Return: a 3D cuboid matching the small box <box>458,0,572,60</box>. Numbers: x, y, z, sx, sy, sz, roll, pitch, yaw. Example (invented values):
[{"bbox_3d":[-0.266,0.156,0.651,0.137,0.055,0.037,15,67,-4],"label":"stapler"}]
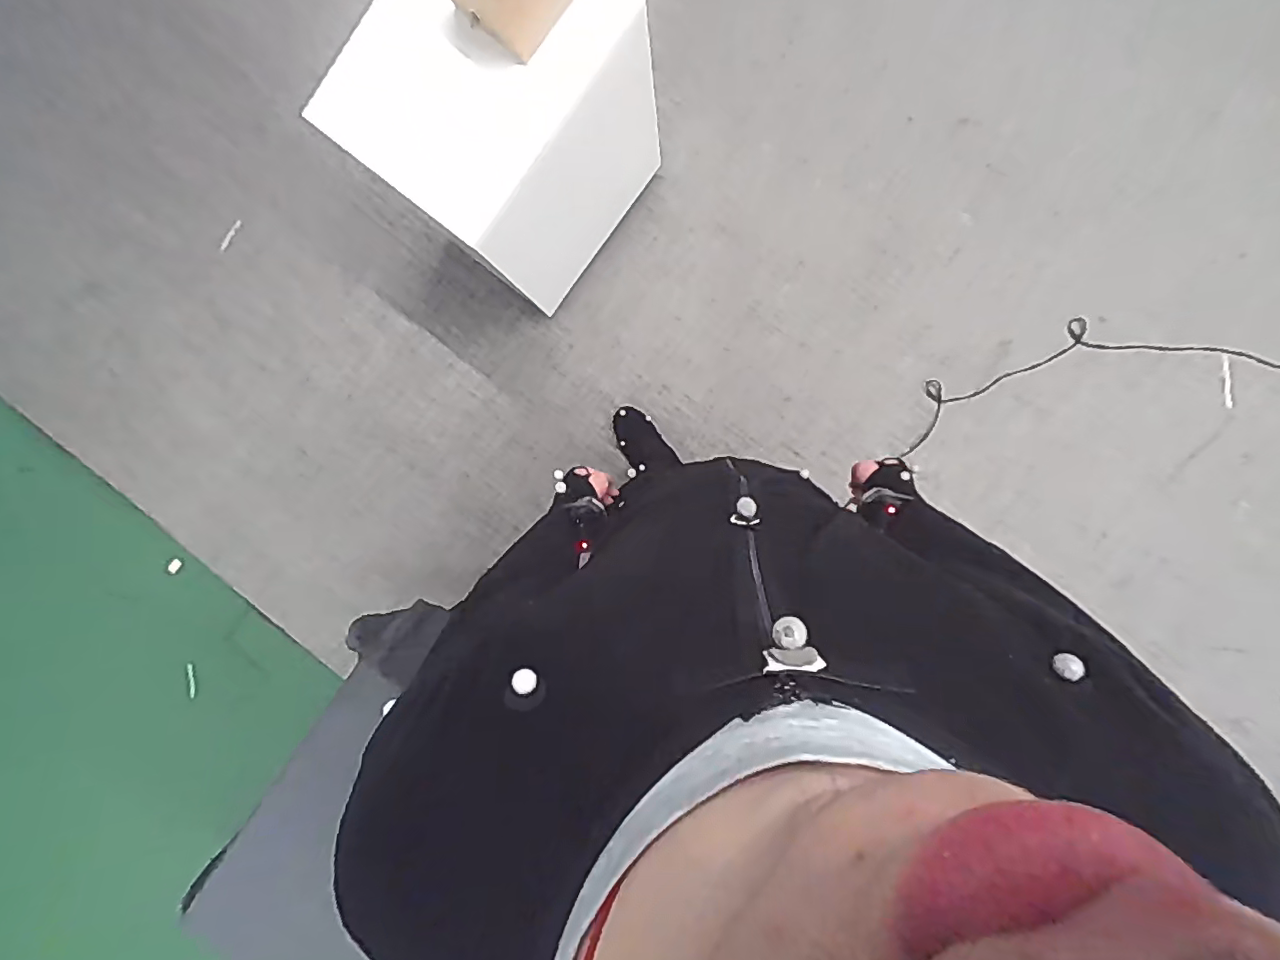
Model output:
[{"bbox_3d":[-0.209,-0.823,0.839,0.168,0.176,0.179,40,99,2],"label":"small box"}]
